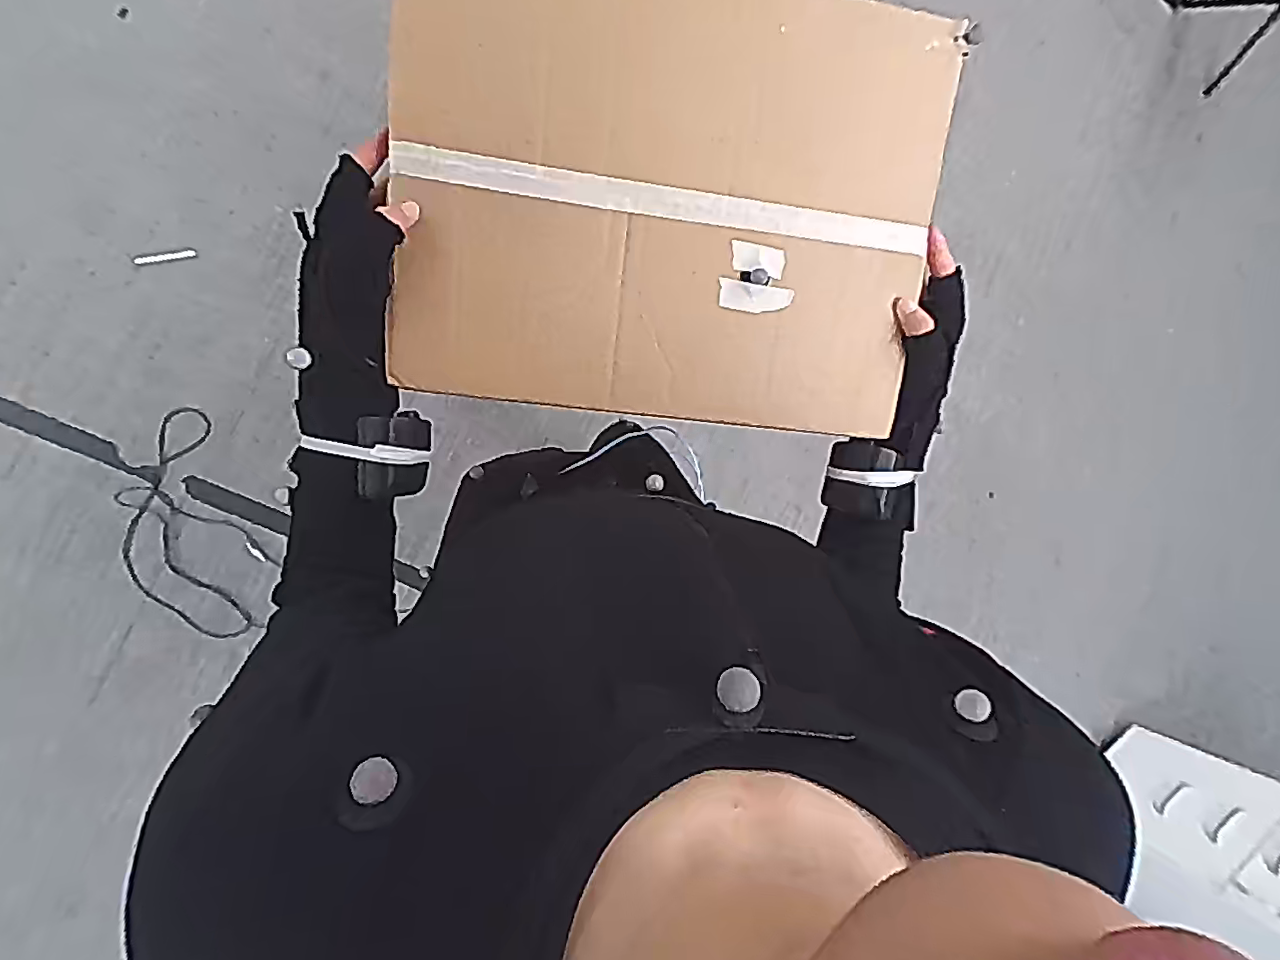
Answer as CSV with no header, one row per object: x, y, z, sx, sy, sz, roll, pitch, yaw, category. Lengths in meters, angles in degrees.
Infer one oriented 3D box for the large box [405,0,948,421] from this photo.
0.008,-0.244,0.558,0.408,0.320,0.320,5,102,-9,large box
